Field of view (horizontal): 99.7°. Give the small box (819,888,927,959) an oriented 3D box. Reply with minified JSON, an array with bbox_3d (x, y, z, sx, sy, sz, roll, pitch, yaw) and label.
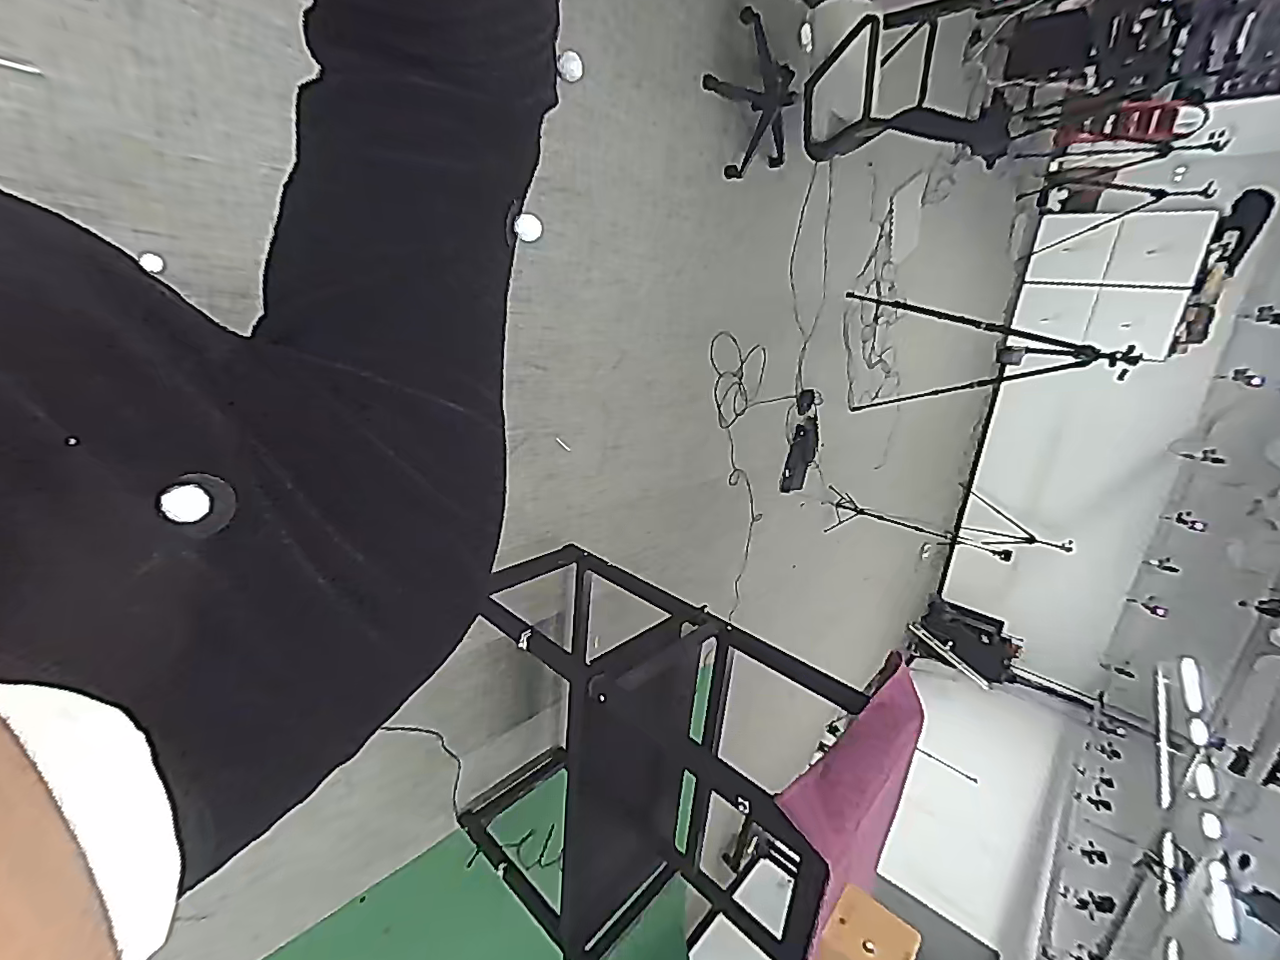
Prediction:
[{"bbox_3d":[0.503,1.053,1.188,0.168,0.176,0.179,-12,114,-48],"label":"small box"}]
